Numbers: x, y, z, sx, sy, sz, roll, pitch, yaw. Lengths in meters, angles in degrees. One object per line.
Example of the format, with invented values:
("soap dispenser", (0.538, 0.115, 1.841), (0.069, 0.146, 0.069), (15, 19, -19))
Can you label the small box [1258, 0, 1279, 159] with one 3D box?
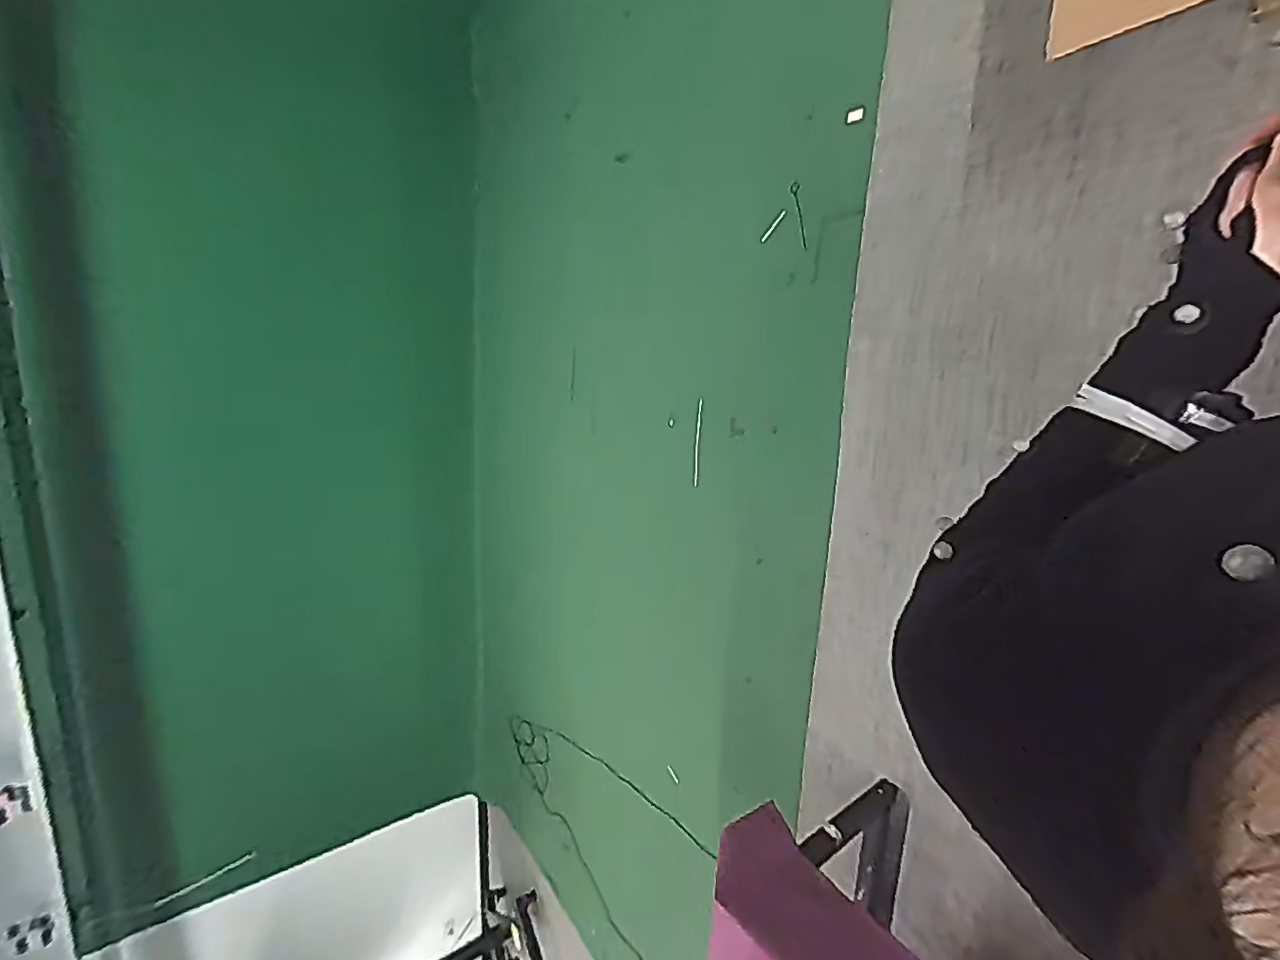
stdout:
("small box", (0.432, -0.256, 0.244), (0.179, 0.176, 0.168), (9, 112, 53))
